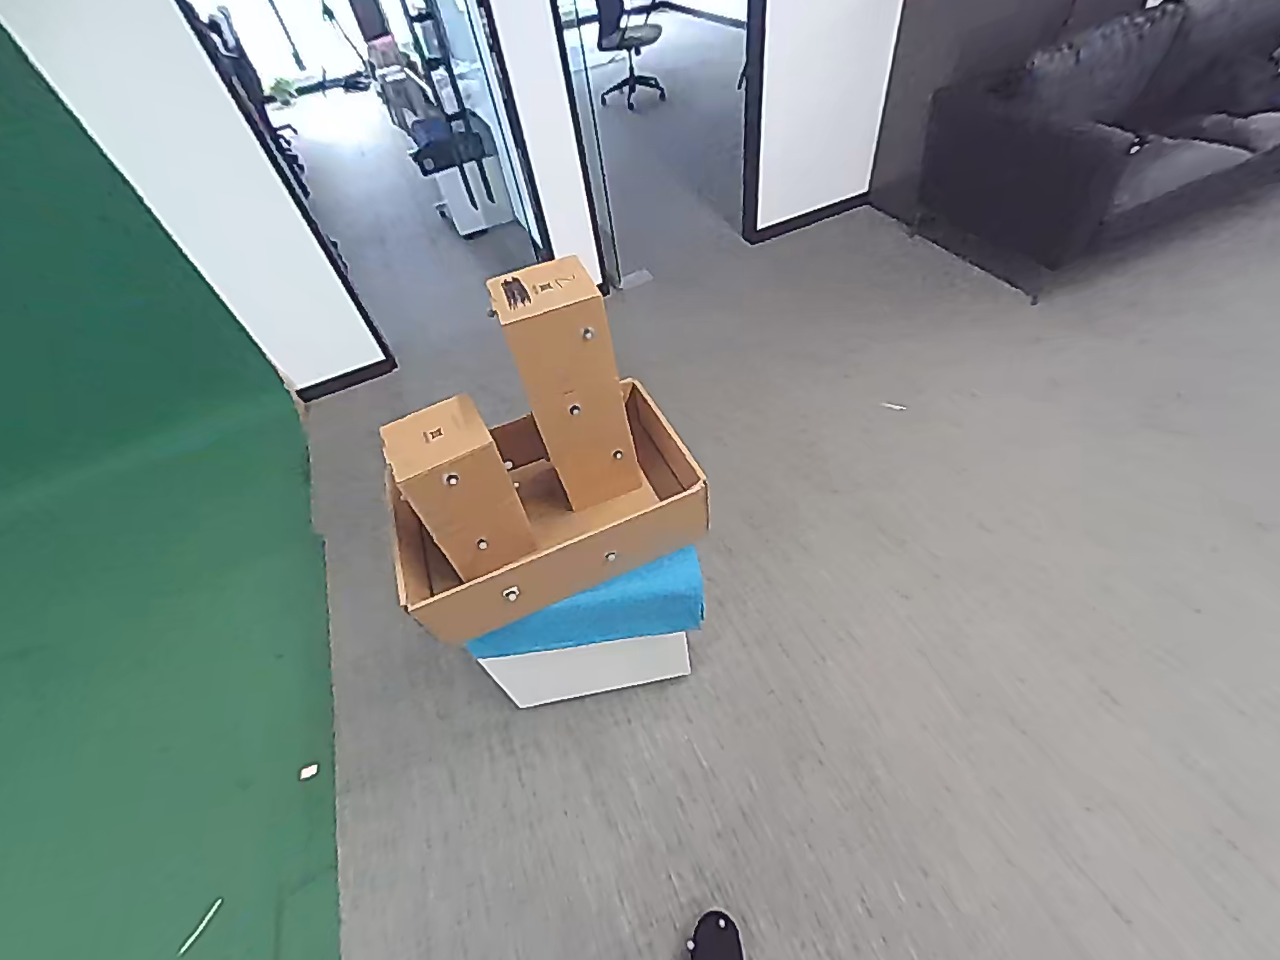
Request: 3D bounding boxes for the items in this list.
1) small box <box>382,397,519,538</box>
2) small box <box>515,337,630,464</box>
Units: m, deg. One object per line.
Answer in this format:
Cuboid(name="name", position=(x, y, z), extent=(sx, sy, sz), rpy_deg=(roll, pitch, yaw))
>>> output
Cuboid(name="small box", position=(-0.354, -0.020, 1.022), extent=(0.179, 0.176, 0.168), rpy_deg=(-26, 50, -14))
Cuboid(name="small box", position=(-0.135, -0.159, 1.108), extent=(0.179, 0.176, 0.168), rpy_deg=(-20, 49, -7))
